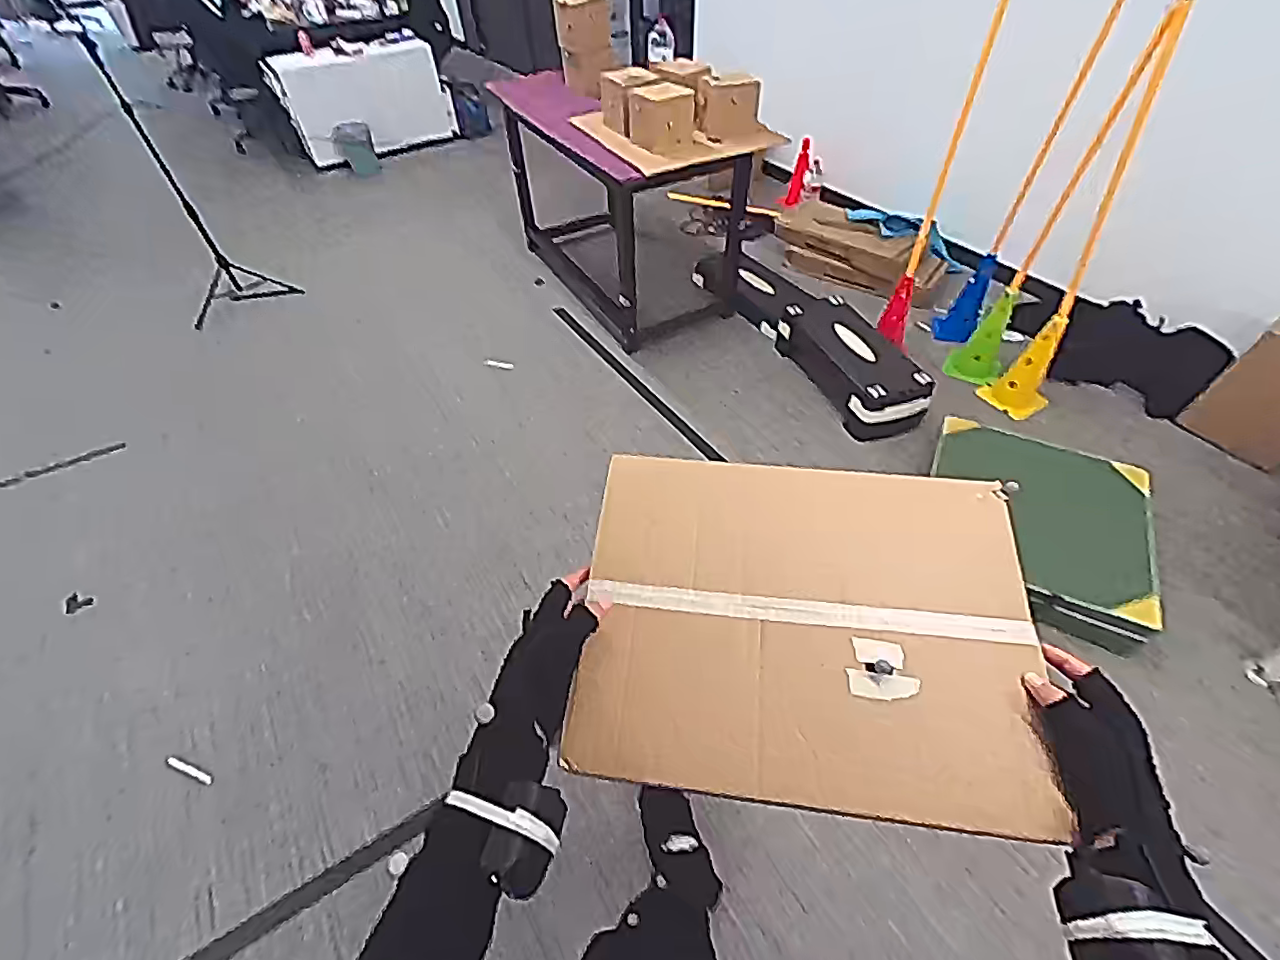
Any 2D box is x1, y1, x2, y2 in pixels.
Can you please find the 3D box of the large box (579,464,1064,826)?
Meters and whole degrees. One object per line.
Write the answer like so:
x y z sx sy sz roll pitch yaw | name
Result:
0.166 0.200 0.648 0.408 0.320 0.320 5 62 7 | large box
